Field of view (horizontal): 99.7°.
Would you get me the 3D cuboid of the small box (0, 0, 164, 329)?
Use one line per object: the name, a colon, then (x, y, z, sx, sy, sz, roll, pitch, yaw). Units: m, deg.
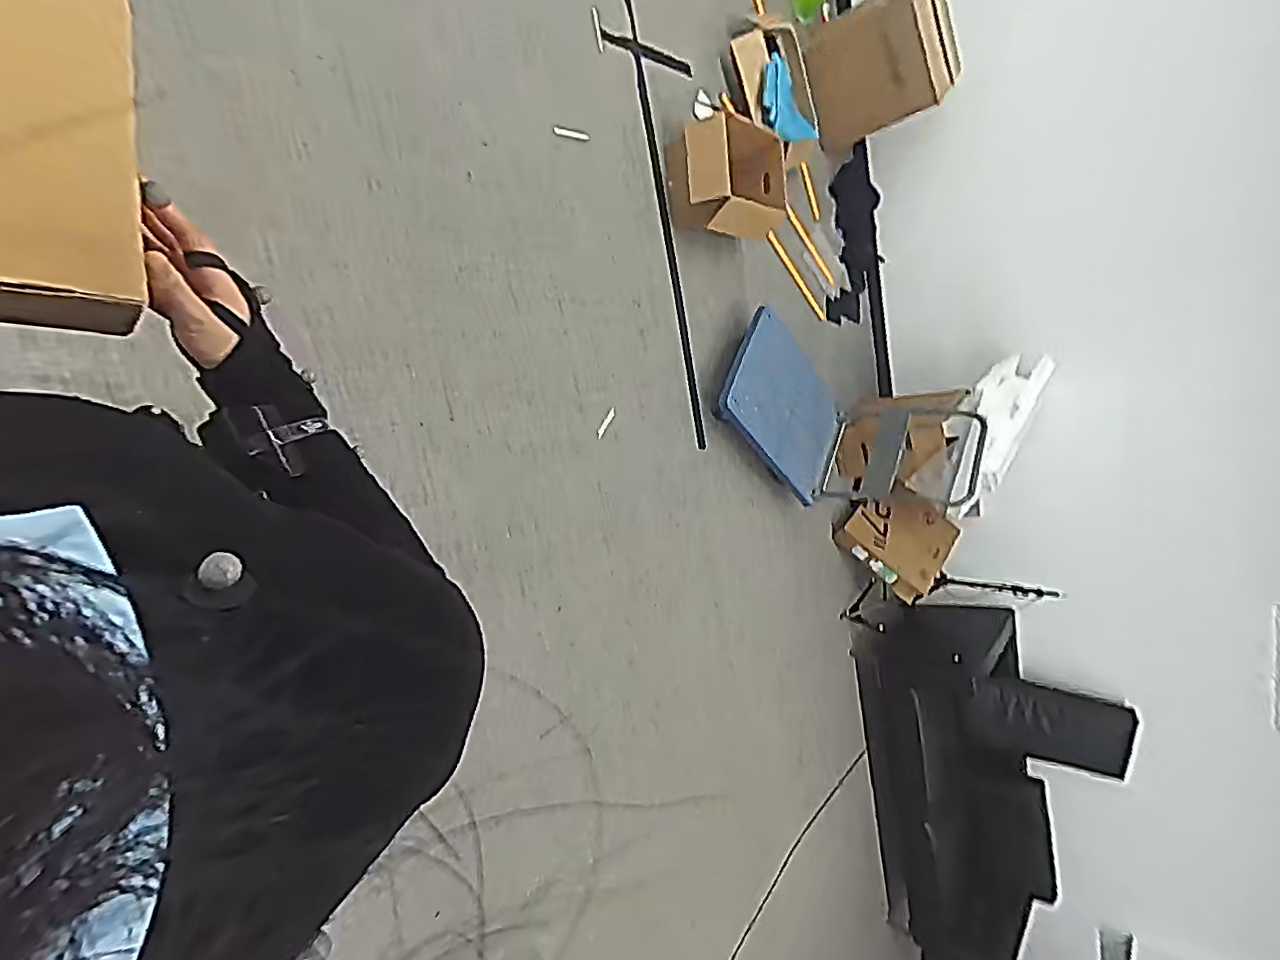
small box: (-0.403, -0.197, 0.318, 0.168, 0.176, 0.179, -5, 98, -46)
